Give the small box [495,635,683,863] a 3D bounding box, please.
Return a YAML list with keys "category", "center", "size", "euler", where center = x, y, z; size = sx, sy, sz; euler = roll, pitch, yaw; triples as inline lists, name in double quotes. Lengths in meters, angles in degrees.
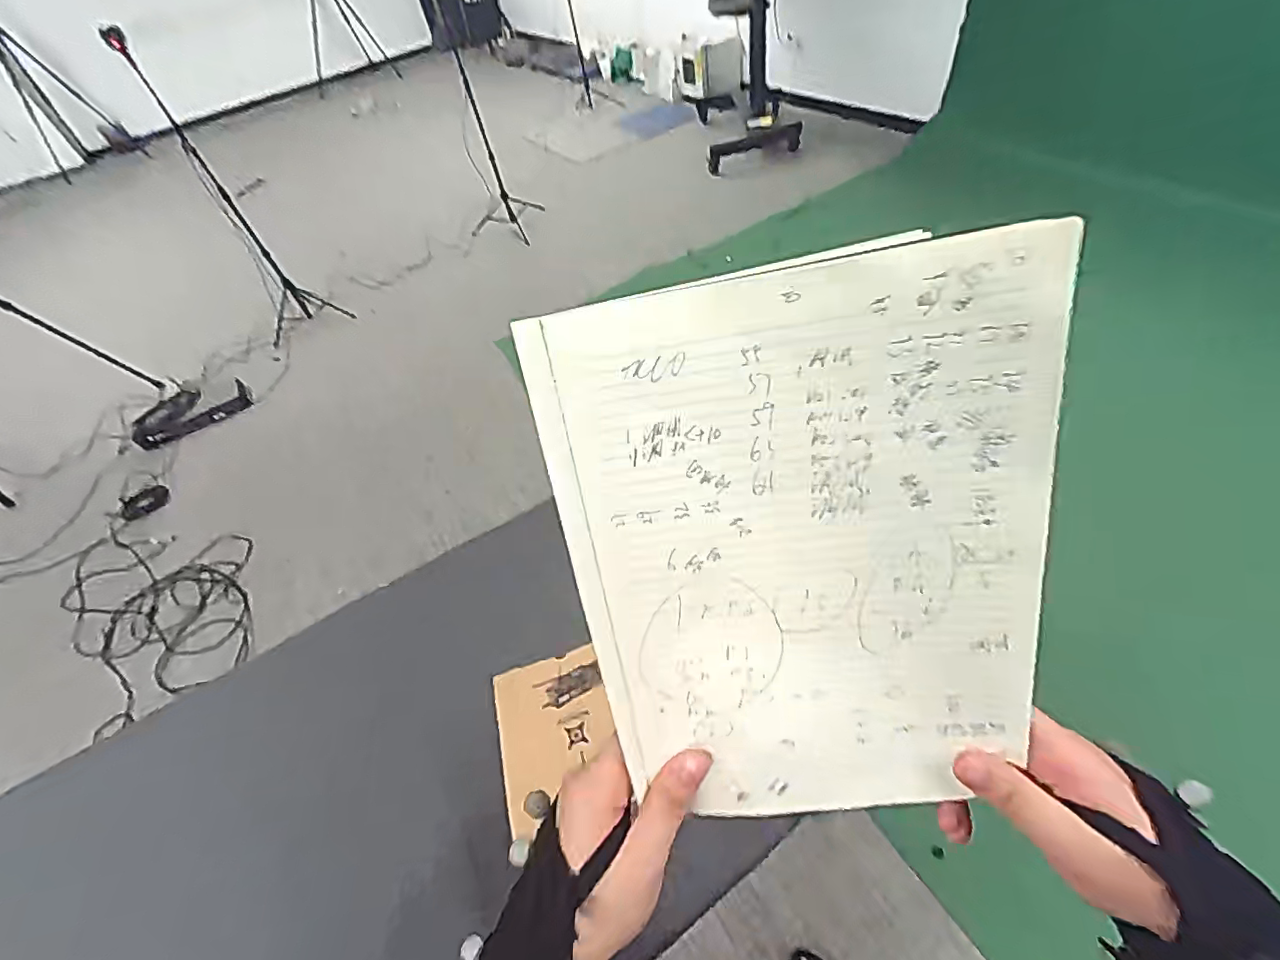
- category: "small box"
  center: [-0.057, 0.319, 0.639]
  size: [0.168, 0.176, 0.179]
  euler: [-19, 49, -4]
